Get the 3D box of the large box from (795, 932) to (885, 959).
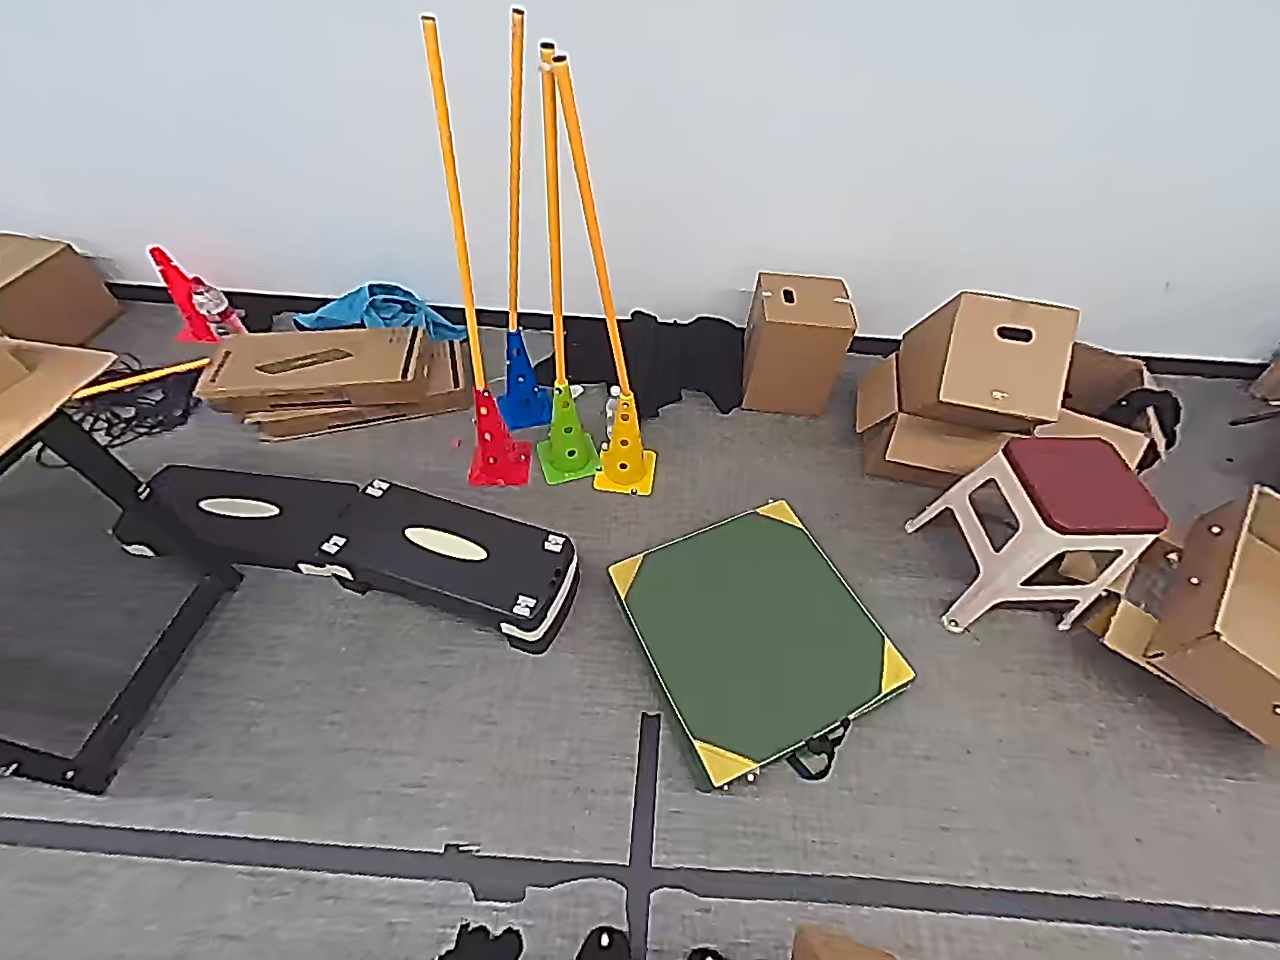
[{"bbox_3d":[0.344,0.804,0.584,0.320,0.408,0.320,15,70,7],"label":"large box"}]
